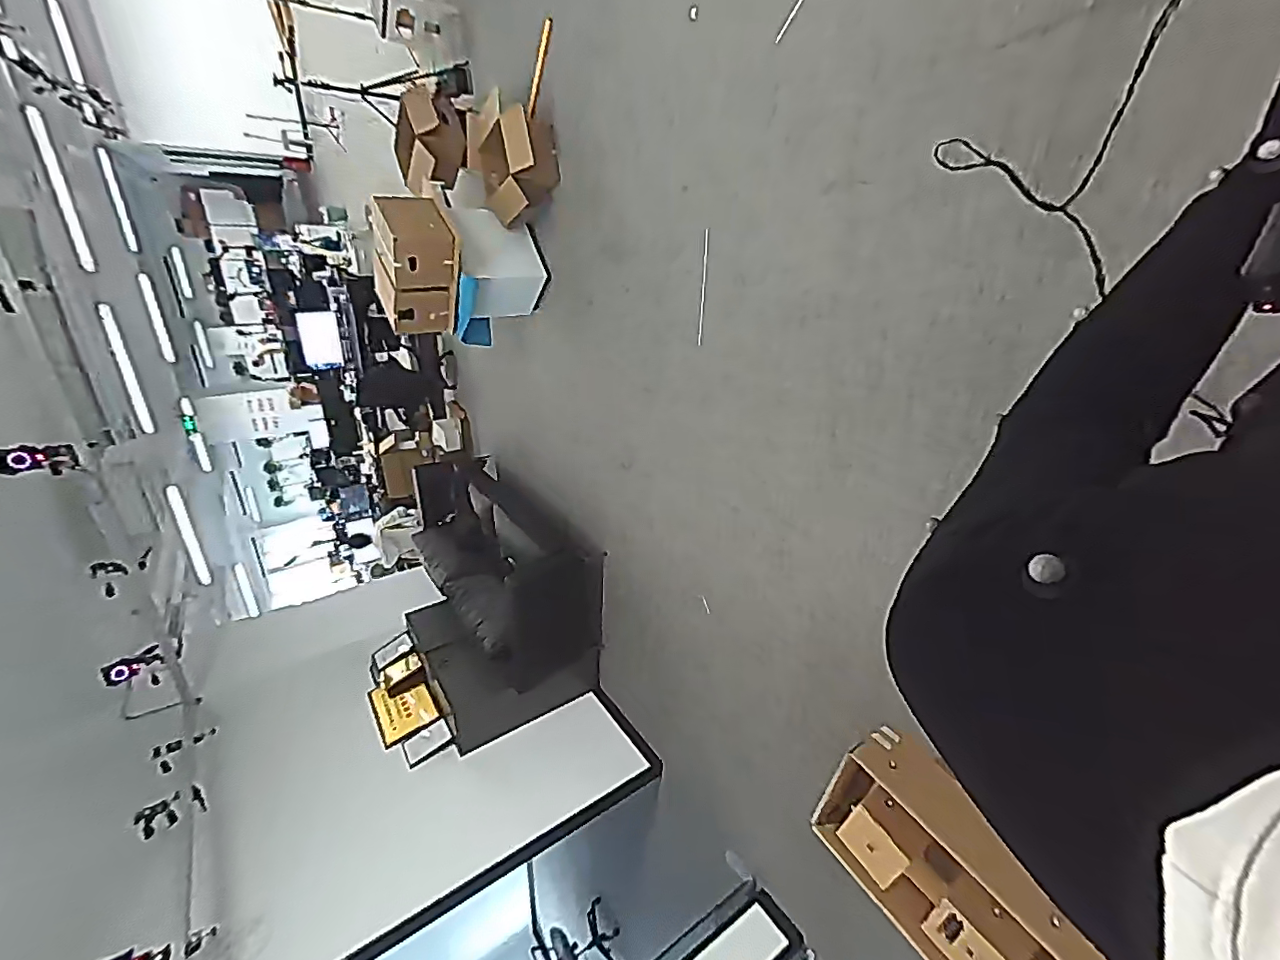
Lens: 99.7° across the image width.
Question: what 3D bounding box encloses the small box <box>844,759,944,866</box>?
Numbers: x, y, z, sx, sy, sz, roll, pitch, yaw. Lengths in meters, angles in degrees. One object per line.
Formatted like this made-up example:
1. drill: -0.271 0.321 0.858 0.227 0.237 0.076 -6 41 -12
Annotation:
1. small box: 0.723 0.935 1.531 0.168 0.176 0.179 46 139 40
